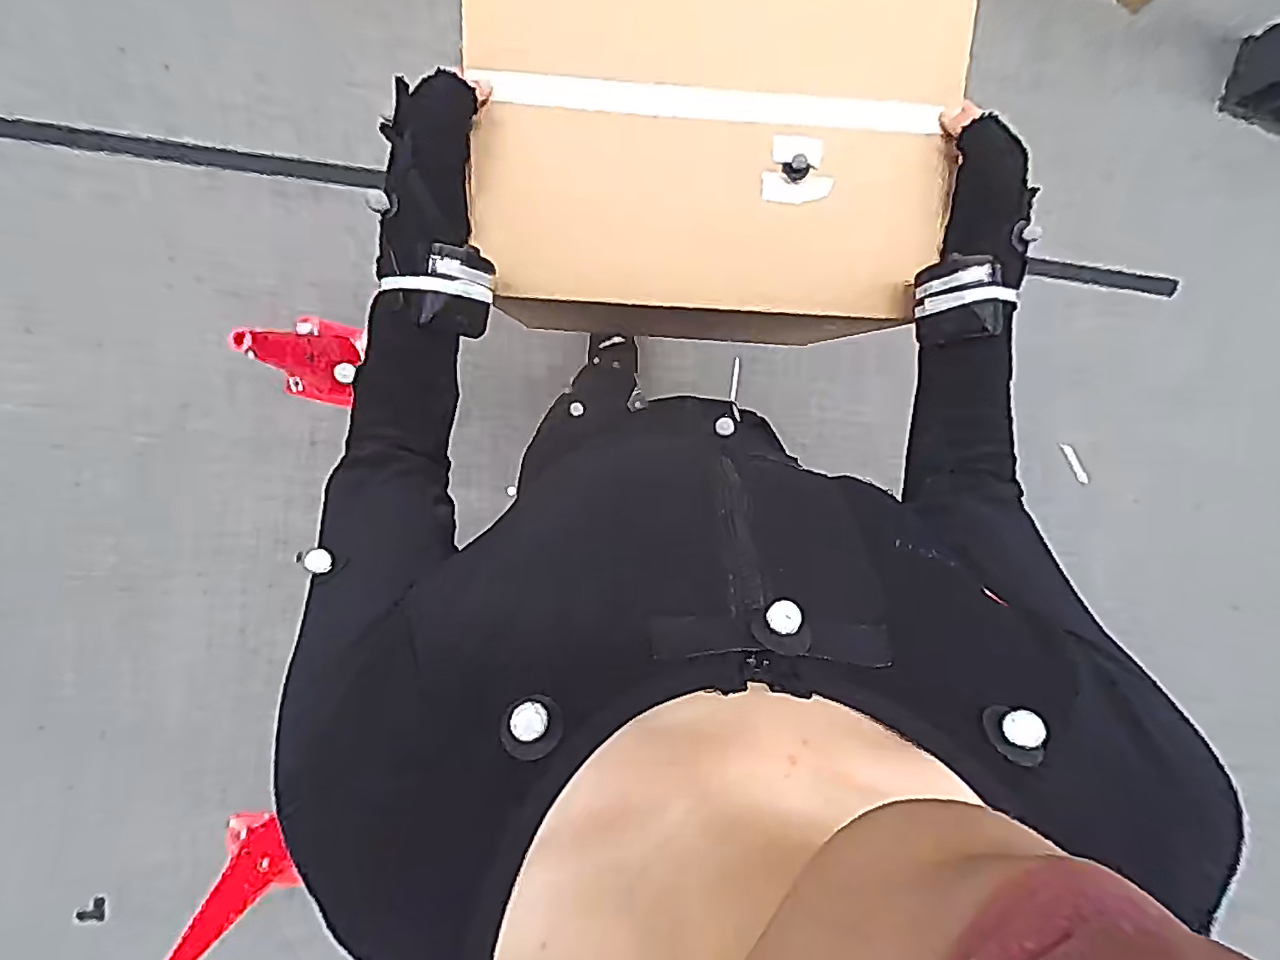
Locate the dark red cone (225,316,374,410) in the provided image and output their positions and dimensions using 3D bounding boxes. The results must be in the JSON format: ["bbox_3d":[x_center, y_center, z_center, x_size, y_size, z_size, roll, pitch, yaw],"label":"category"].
[{"bbox_3d":[-0.747,-0.274,1.159,0.201,0.394,0.202,12,94,-7],"label":"dark red cone"}]

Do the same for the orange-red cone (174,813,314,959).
[{"bbox_3d":[-0.963,1.004,1.272,0.198,0.360,0.199,4,96,-4],"label":"orange-red cone"}]

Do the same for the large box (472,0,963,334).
[{"bbox_3d":[0.053,-0.338,0.590,0.408,0.320,0.320,2,100,-4],"label":"large box"}]
